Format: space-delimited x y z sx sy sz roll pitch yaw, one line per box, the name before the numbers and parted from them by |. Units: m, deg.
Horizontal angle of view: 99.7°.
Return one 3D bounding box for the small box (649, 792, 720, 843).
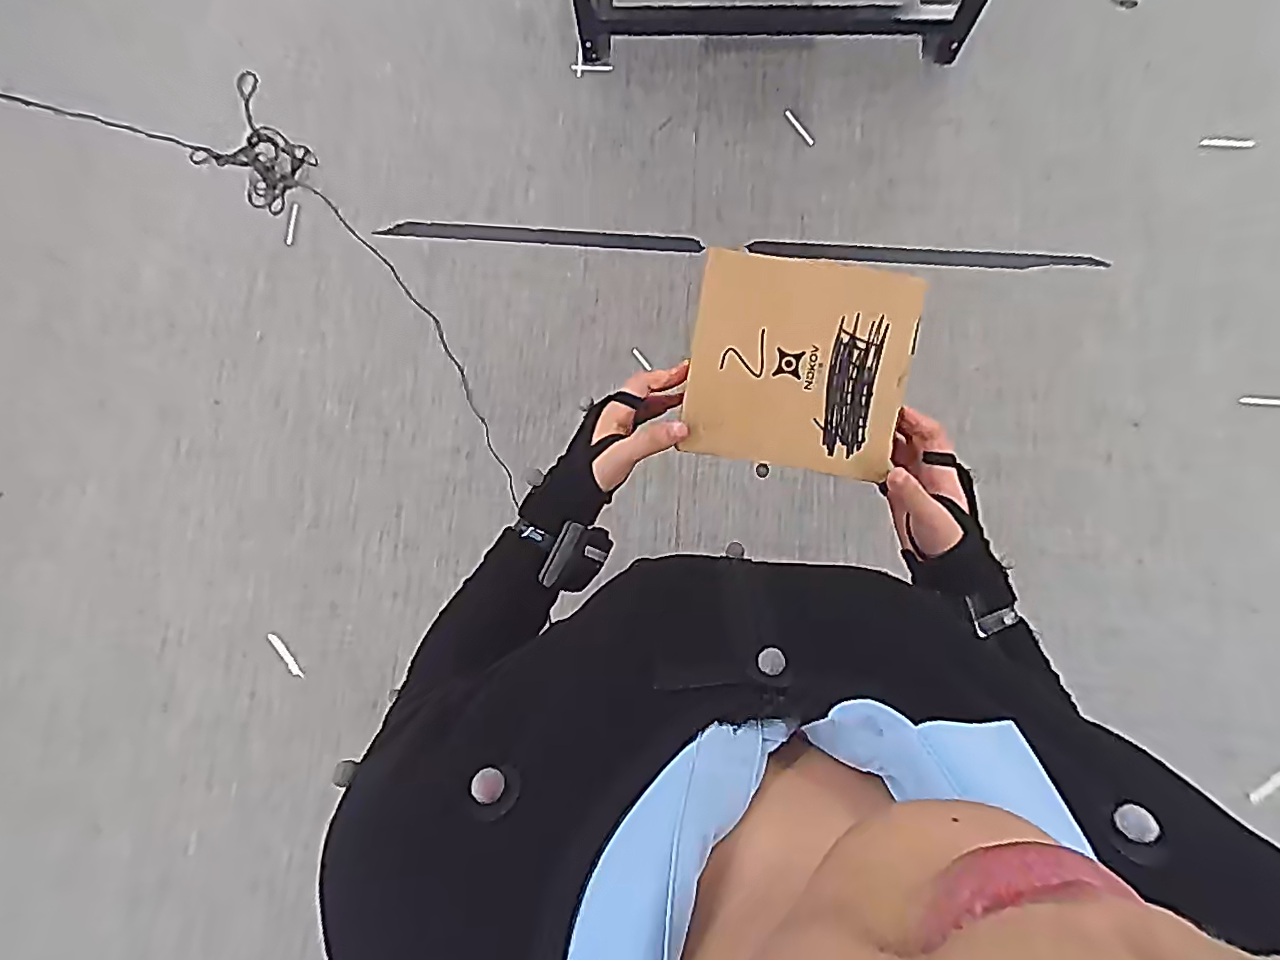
small box | 0.104 0.890 1.324 0.168 0.176 0.179 1 82 3
